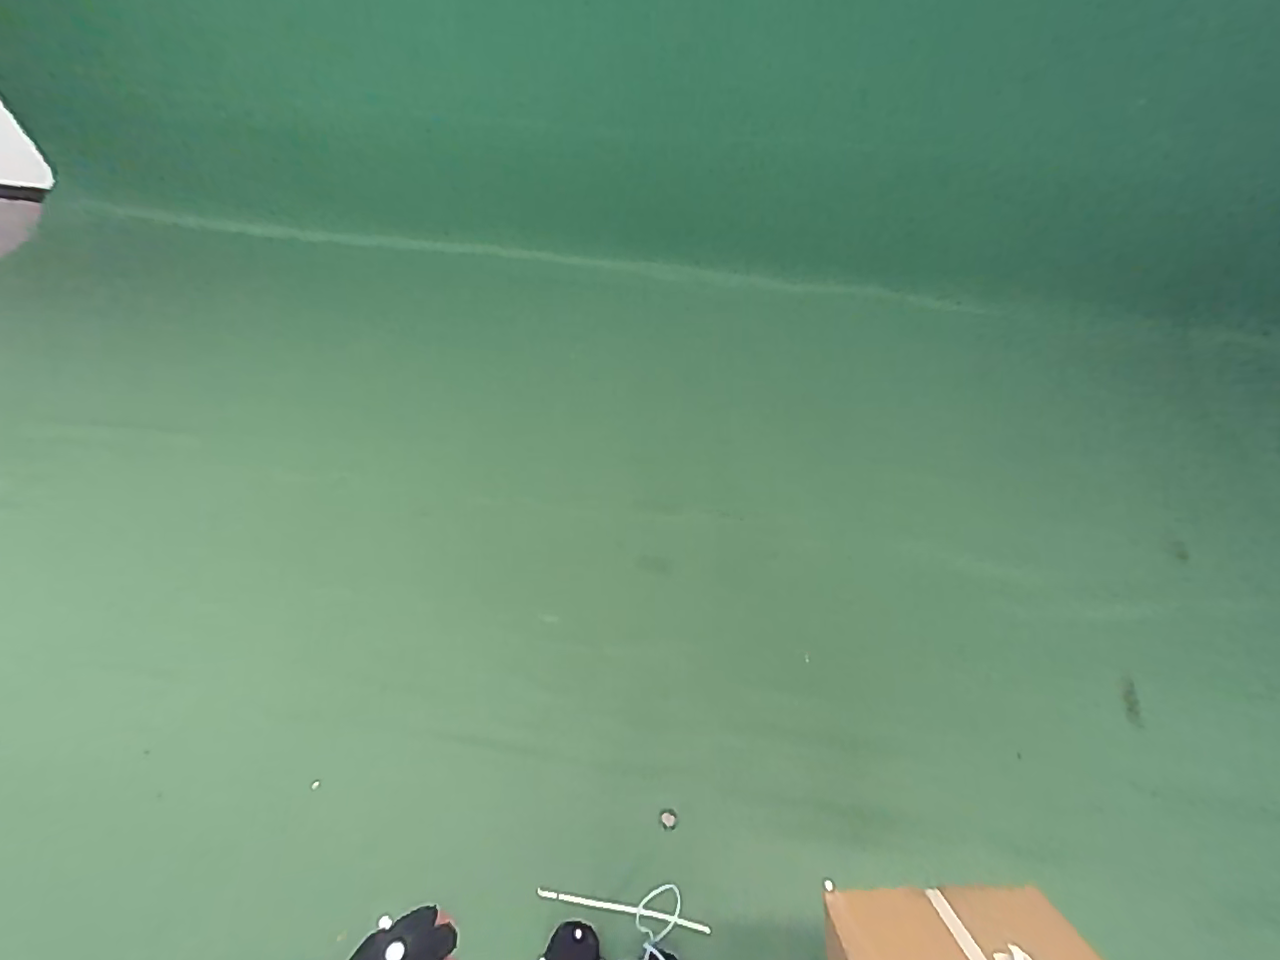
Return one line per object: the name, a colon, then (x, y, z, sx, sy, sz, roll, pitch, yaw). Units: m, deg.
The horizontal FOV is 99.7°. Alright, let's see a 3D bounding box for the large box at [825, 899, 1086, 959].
large box: (0.429, 0.774, 0.600, 0.320, 0.408, 0.320, -2, 89, 2)
